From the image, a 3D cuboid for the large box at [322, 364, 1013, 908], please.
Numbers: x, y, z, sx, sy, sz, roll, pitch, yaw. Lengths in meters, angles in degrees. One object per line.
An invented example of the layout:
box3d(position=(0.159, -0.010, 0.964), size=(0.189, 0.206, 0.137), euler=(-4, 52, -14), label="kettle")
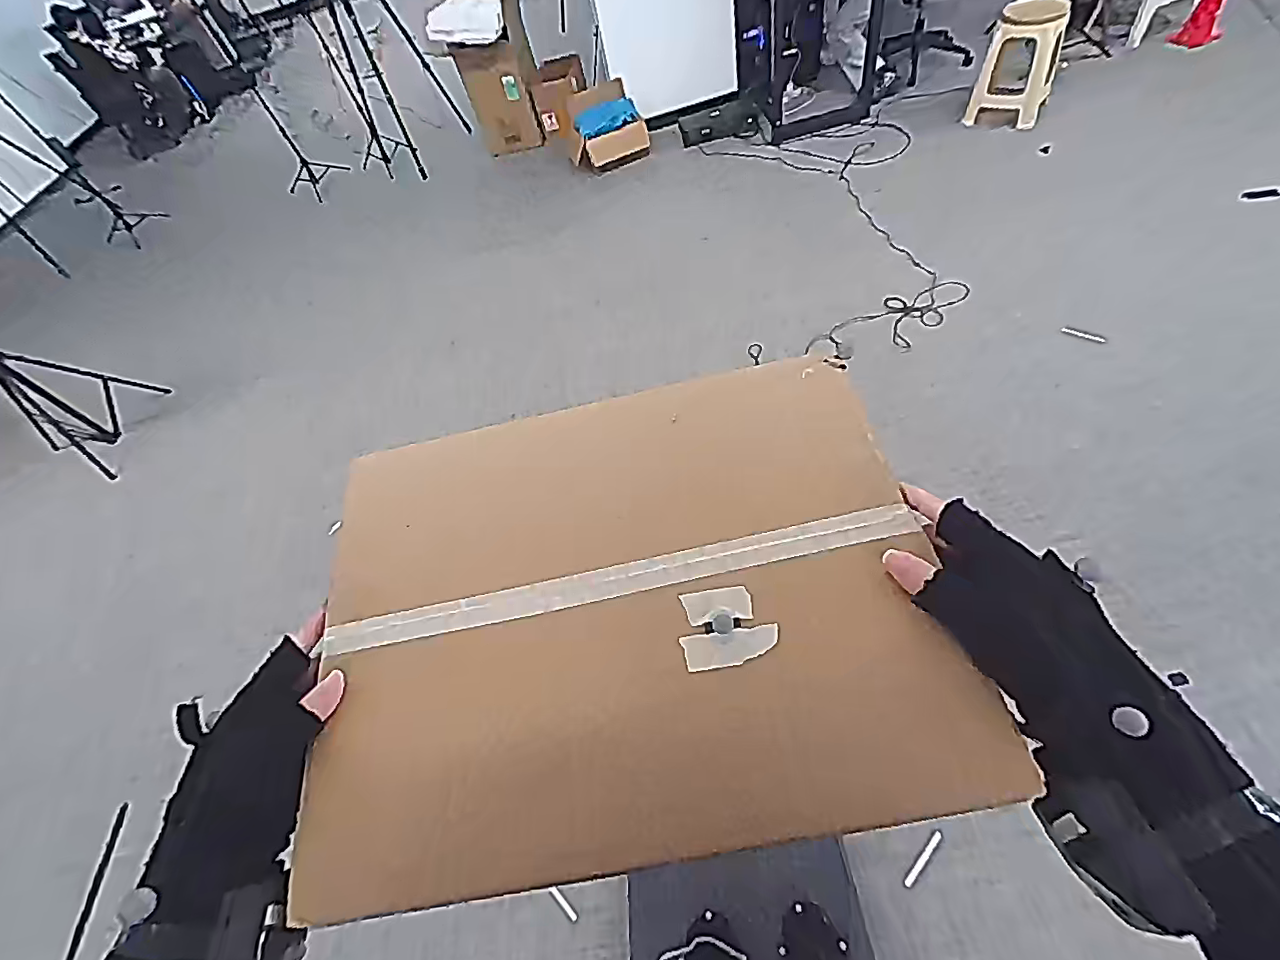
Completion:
box3d(position=(0.008, 0.148, 0.503), size=(0.408, 0.320, 0.320), euler=(-12, 59, 3), label="large box")
